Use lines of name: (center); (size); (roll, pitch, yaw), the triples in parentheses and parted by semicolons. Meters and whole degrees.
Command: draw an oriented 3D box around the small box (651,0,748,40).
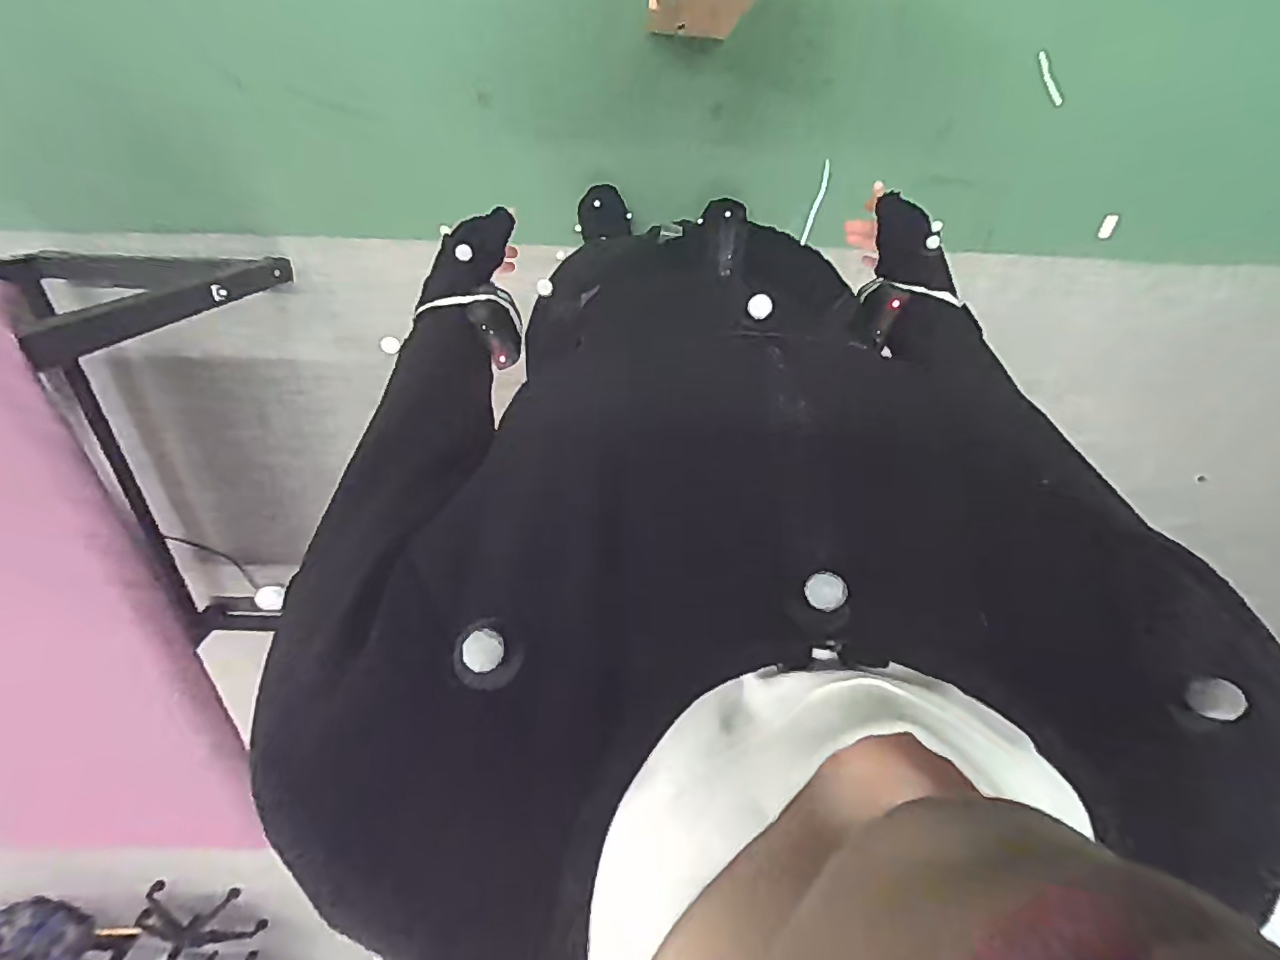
small box: (0.110, -0.932, 0.979); (0.168, 0.176, 0.179); (4, 120, -3)
